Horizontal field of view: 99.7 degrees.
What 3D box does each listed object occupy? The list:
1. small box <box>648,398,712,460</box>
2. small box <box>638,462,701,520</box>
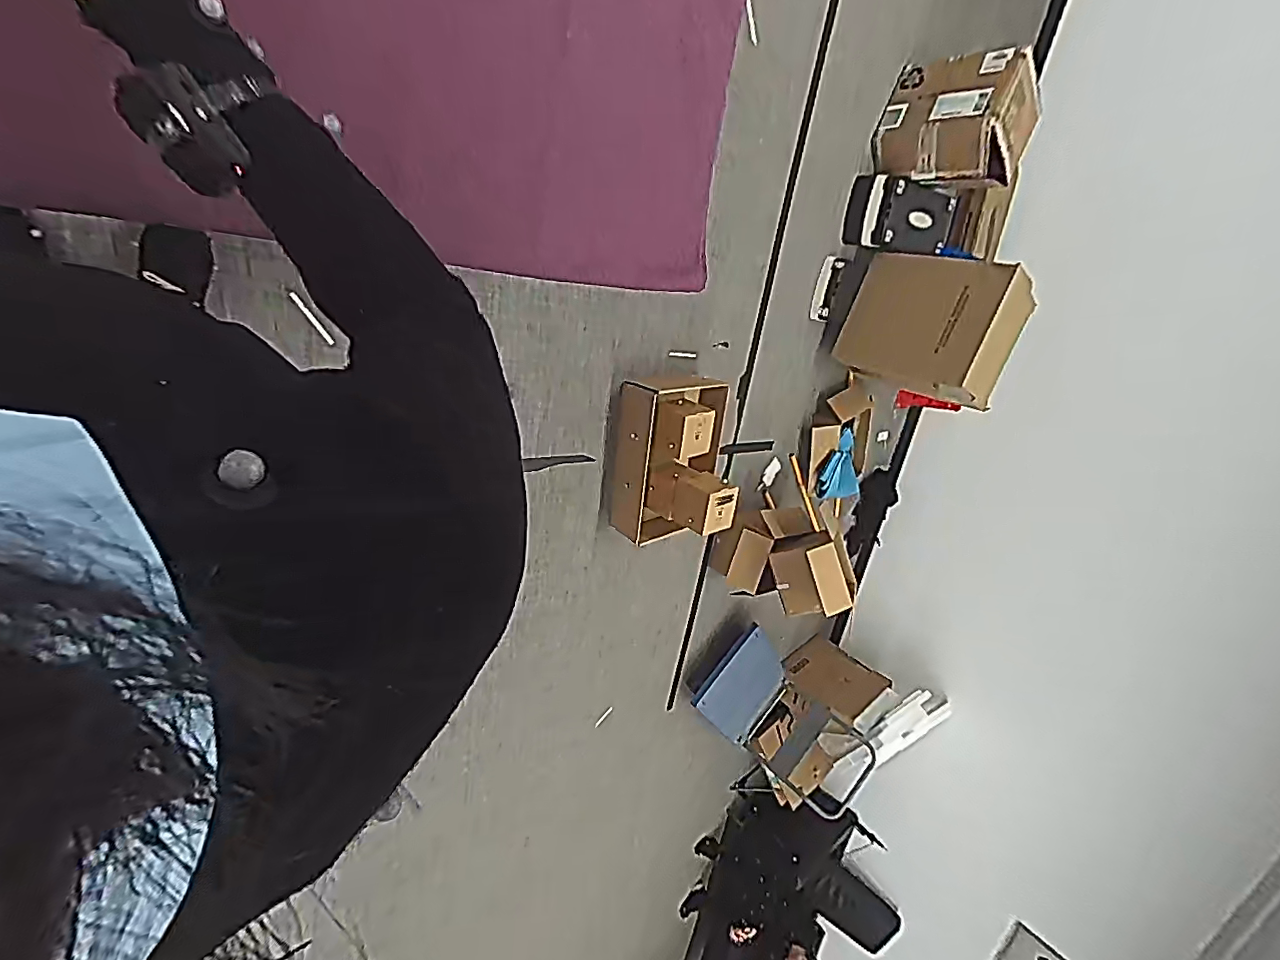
[{"bbox_3d":[0.147,-0.200,2.071,0.168,0.176,0.179,-16,123,-39],"label":"small box"},{"bbox_3d":[0.117,0.037,2.174,0.179,0.176,0.168,-13,119,-39],"label":"small box"}]
